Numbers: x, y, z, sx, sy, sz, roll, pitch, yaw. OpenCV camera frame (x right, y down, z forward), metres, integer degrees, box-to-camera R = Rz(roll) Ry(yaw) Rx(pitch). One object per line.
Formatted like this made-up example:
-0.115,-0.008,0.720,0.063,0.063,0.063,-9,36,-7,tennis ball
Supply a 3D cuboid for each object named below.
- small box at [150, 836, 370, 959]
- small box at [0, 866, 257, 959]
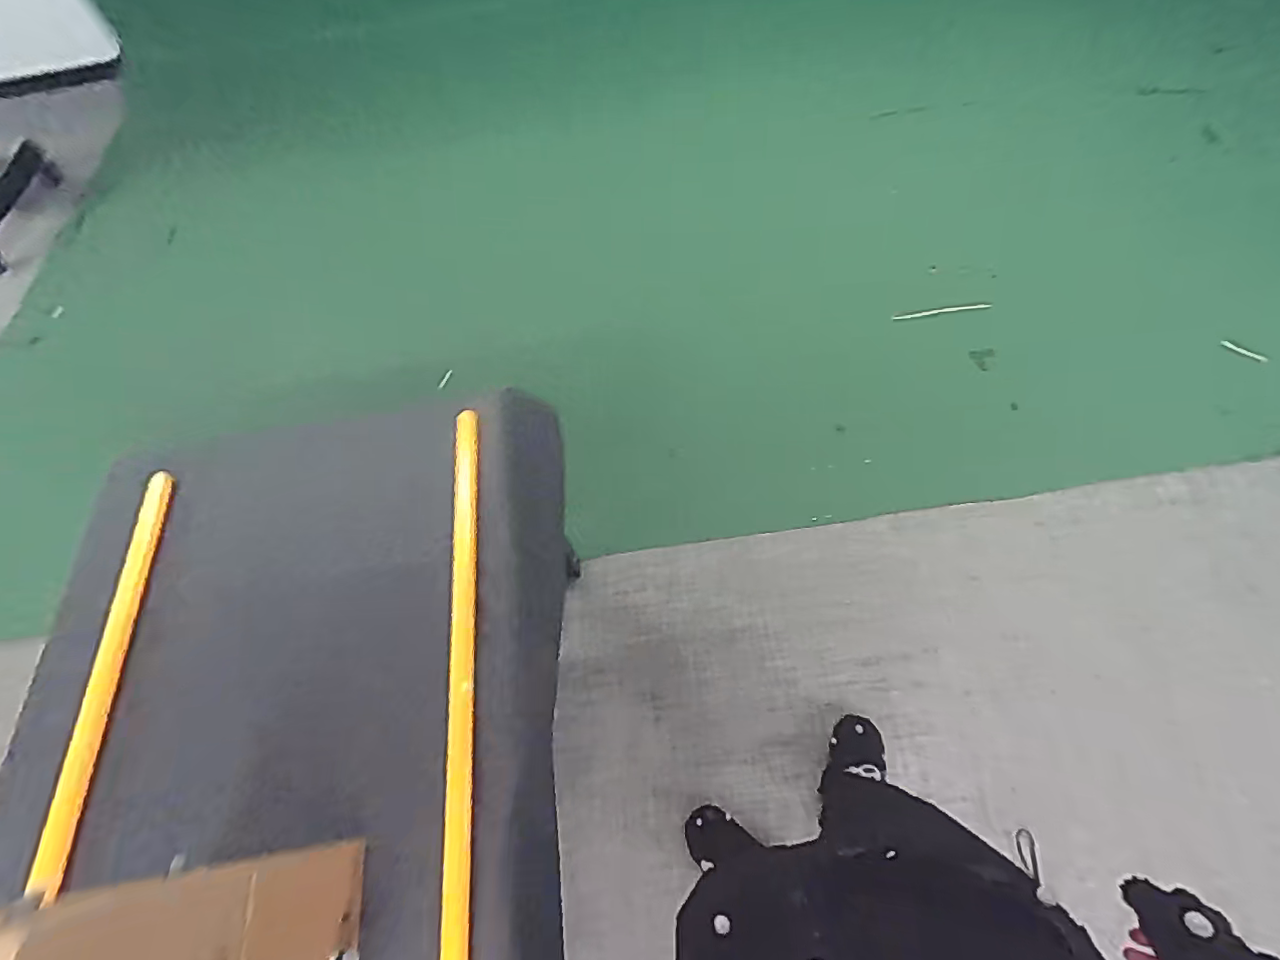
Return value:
-0.369,0.431,0.473,0.179,0.176,0.168,-11,64,-1,small box
-0.387,0.357,0.327,0.179,0.176,0.168,-10,63,1,small box
